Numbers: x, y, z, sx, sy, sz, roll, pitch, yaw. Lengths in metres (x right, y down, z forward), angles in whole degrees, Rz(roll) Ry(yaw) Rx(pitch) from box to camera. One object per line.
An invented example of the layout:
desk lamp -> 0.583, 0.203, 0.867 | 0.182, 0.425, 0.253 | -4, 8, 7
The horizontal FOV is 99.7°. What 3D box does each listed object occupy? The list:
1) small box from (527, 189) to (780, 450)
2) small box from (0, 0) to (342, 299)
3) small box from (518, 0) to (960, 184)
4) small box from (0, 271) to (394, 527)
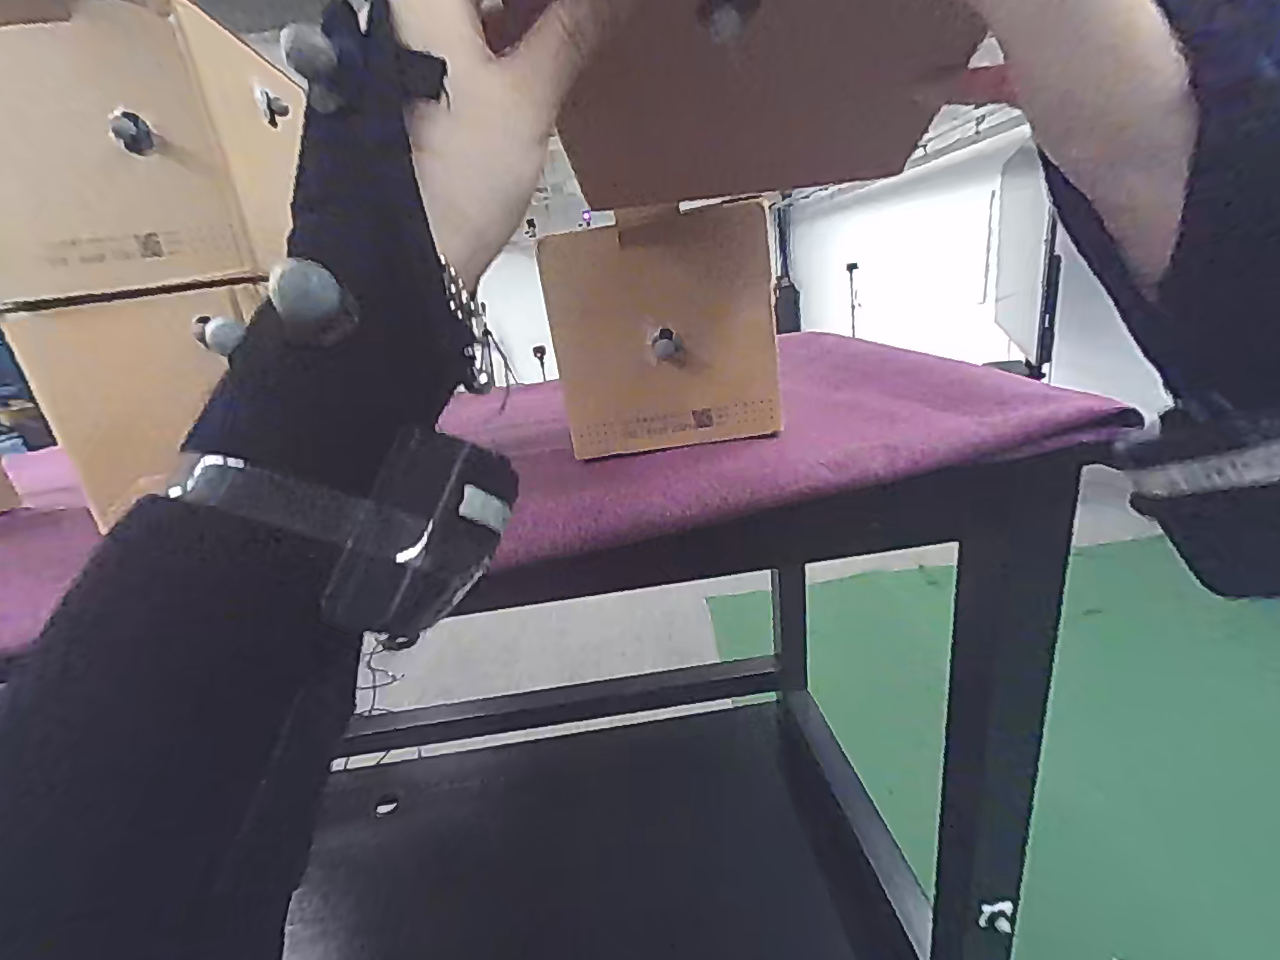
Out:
small box -> 0.019, -0.128, 0.465 | 0.168, 0.176, 0.179 | -8, 17, 5
small box -> -0.352, -0.223, 0.402 | 0.168, 0.176, 0.179 | -7, 17, -5
small box -> 0.037, -0.249, 0.221 | 0.179, 0.168, 0.176 | -3, -2, 6
small box -> -0.338, -0.069, 0.452 | 0.179, 0.176, 0.168 | -8, 18, -2
